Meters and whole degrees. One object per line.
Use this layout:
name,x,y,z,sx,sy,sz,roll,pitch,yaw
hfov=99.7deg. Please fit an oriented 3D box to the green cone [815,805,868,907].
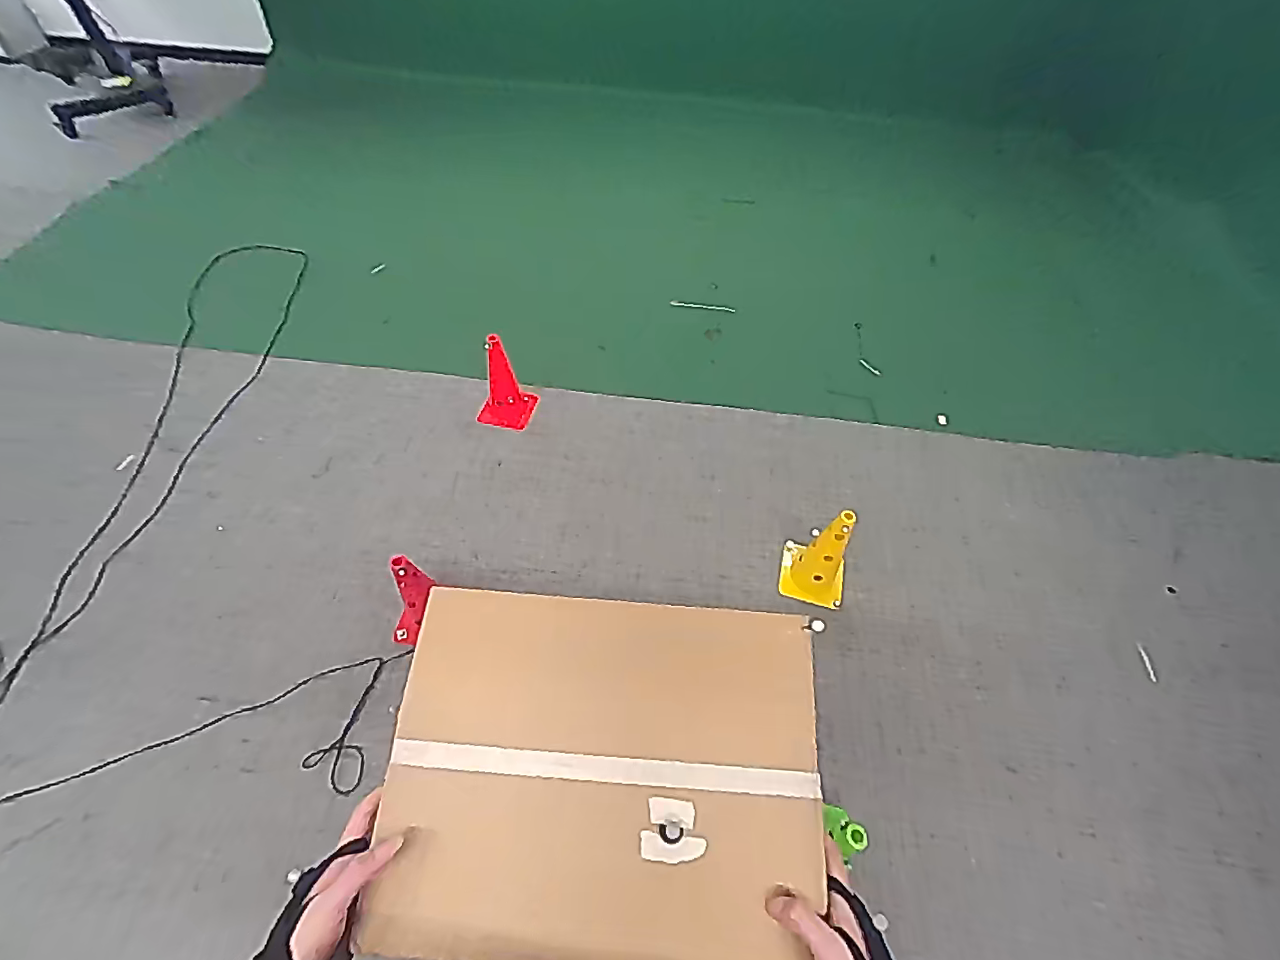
green cone,0.421,0.805,1.196,0.200,0.368,0.202,12,53,5

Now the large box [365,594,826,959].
large box,-0.035,0.335,0.655,0.408,0.320,0.320,4,66,1

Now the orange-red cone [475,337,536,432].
orange-red cone,-0.529,-0.377,2.012,0.199,0.360,0.198,12,53,8
